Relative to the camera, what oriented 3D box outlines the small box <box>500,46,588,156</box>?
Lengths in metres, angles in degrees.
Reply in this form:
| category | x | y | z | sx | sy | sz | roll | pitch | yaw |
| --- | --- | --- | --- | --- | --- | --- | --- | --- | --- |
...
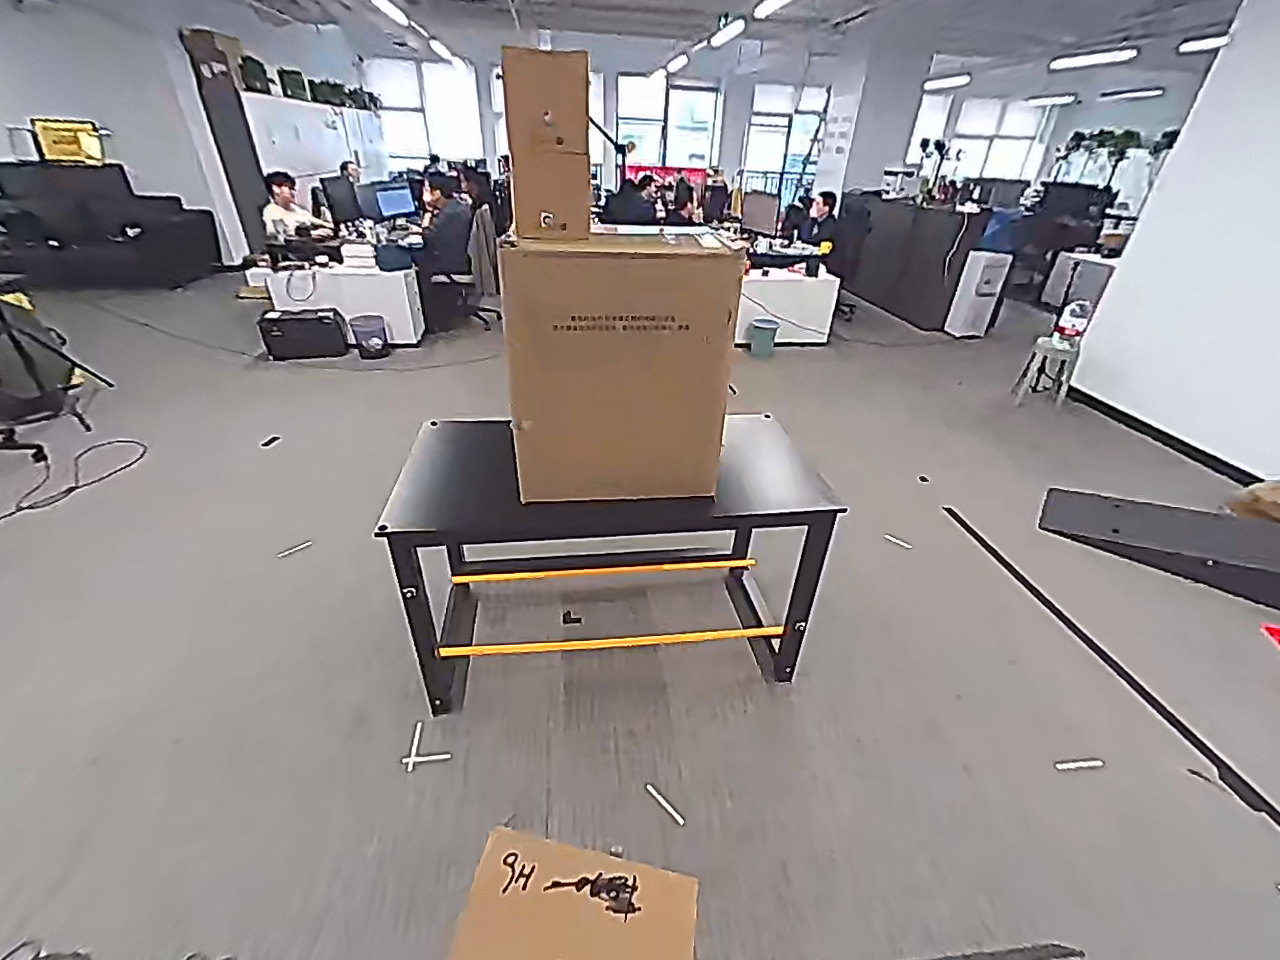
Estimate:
| category | x | y | z | sx | sy | sz | roll | pitch | yaw |
| --- | --- | --- | --- | --- | --- | --- | --- | --- | --- |
| small box | -0.197 | -0.775 | 1.118 | 0.168 | 0.176 | 0.179 | -4 | 33 | -10 |

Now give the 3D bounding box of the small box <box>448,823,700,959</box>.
| category | x | y | z | sx | sy | sz | roll | pitch | yaw |
| --- | --- | --- | --- | --- | --- | --- | --- | --- | --- |
| small box | -0.062 | 0.395 | 0.406 | 0.168 | 0.176 | 0.179 | 15 | 44 | 0 |

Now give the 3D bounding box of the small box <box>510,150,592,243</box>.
| category | x | y | z | sx | sy | sz | roll | pitch | yaw |
| --- | --- | --- | --- | --- | --- | --- | --- | --- | --- |
| small box | -0.202 | -0.637 | 1.209 | 0.168 | 0.176 | 0.179 | -6 | 35 | -12 |
